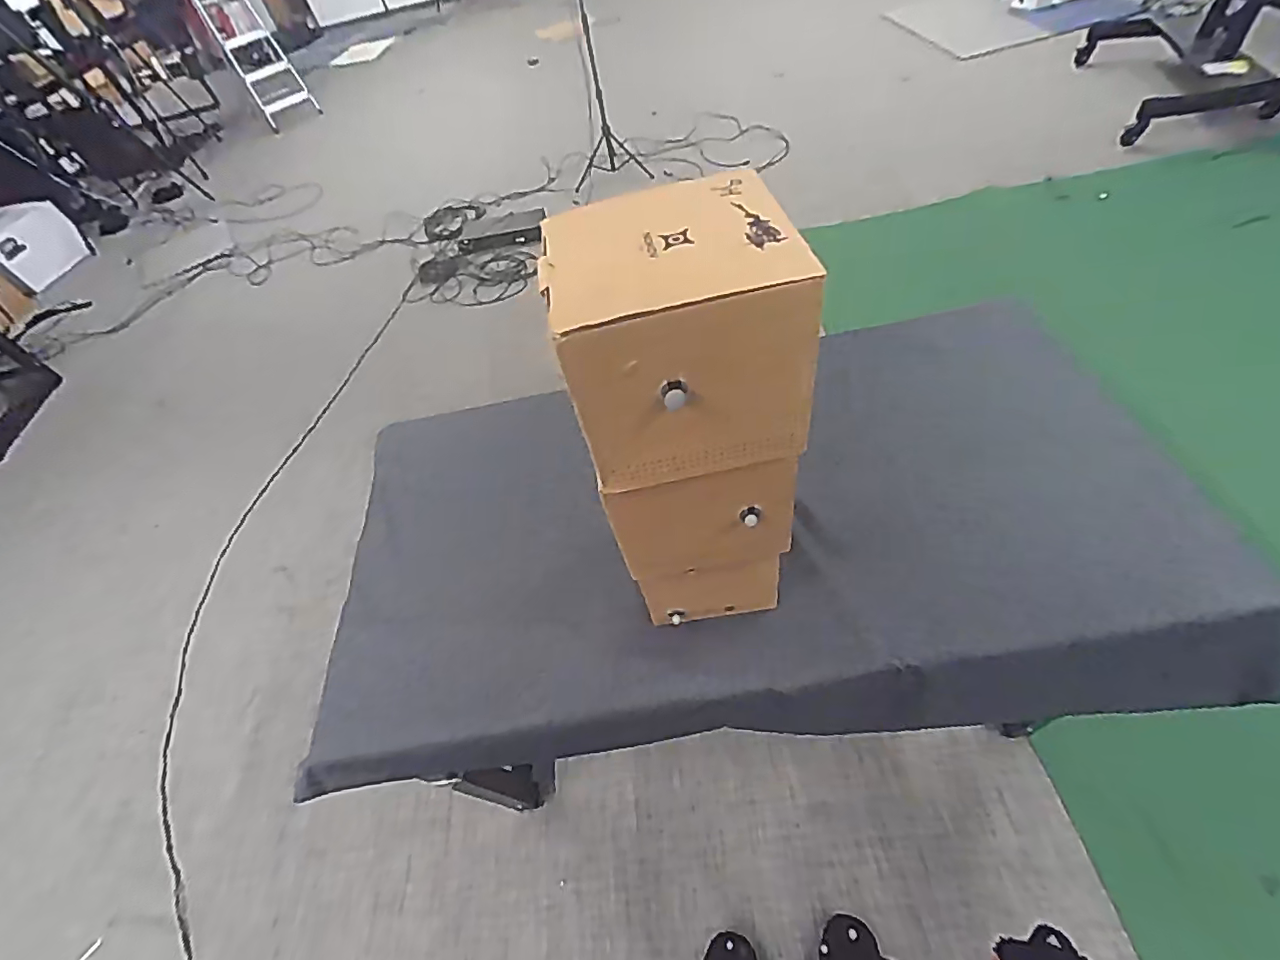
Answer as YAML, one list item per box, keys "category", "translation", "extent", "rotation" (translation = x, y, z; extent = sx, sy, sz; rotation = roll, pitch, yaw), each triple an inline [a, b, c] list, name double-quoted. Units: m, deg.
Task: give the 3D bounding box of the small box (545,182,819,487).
- category: "small box"
  translation: [0.032, -0.115, 0.454]
  extent: [0.179, 0.176, 0.168]
  rotation: [-14, 49, 0]

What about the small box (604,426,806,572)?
- category: "small box"
  translation: [0.054, -0.026, 0.567]
  extent: [0.179, 0.176, 0.168]
  rotation: [-14, 51, 0]

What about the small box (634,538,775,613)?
- category: "small box"
  translation: [0.080, 0.064, 0.719]
  extent: [0.168, 0.176, 0.179]
  rotation: [-9, 51, 5]
